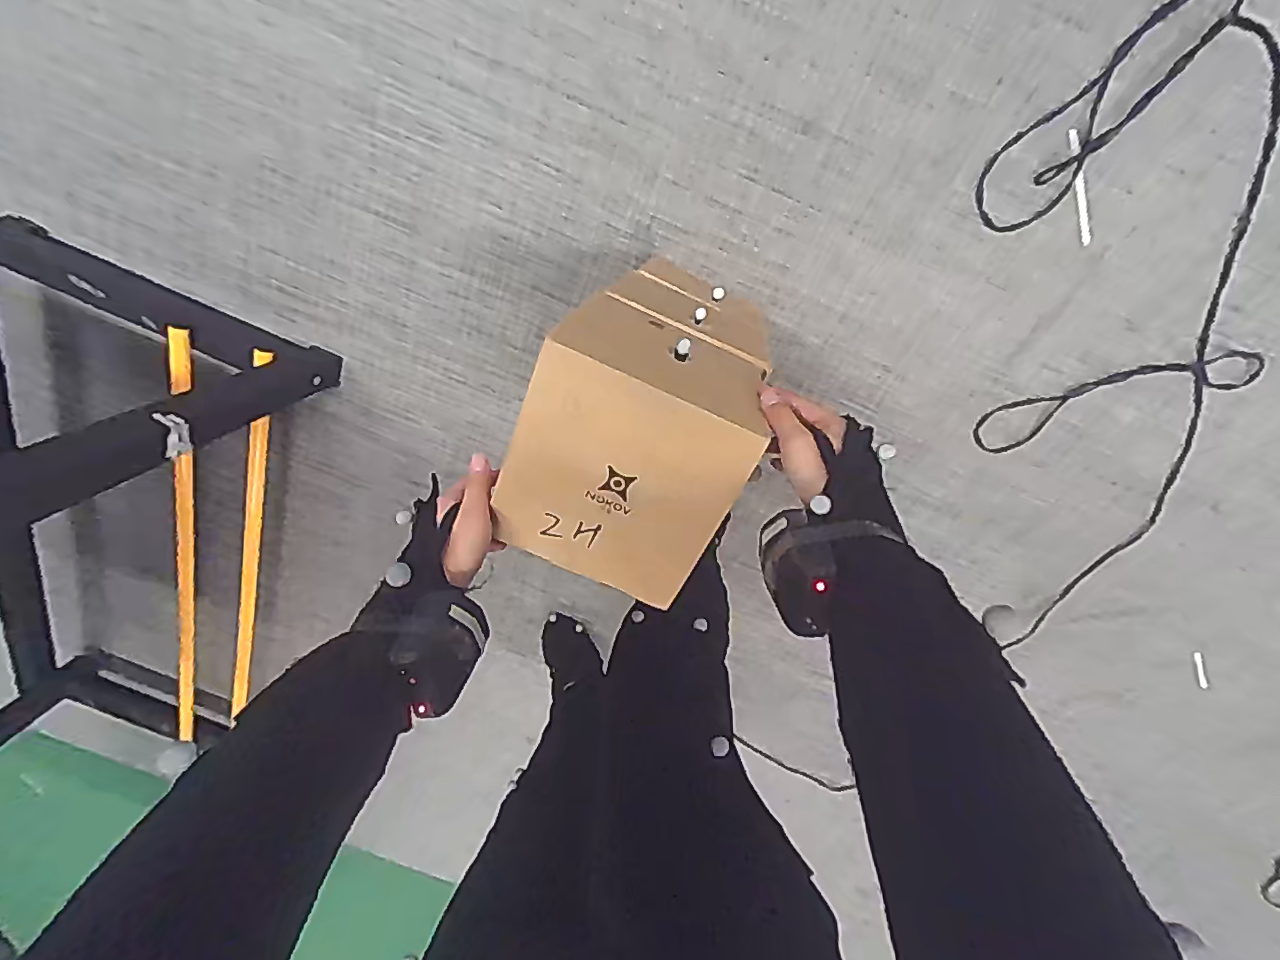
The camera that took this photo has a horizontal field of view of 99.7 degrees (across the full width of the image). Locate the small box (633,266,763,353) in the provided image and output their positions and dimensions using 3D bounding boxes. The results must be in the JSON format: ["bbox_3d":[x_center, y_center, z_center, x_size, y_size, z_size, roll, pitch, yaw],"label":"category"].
[{"bbox_3d":[0.050,-0.183,0.757,0.179,0.176,0.168,25,117,-5],"label":"small box"}]

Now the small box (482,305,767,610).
[{"bbox_3d":[-0.010,-0.030,0.467,0.168,0.176,0.179,24,120,-4],"label":"small box"}]

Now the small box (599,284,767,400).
[{"bbox_3d":[0.025,-0.109,0.615,0.179,0.176,0.168,23,116,-2],"label":"small box"}]
